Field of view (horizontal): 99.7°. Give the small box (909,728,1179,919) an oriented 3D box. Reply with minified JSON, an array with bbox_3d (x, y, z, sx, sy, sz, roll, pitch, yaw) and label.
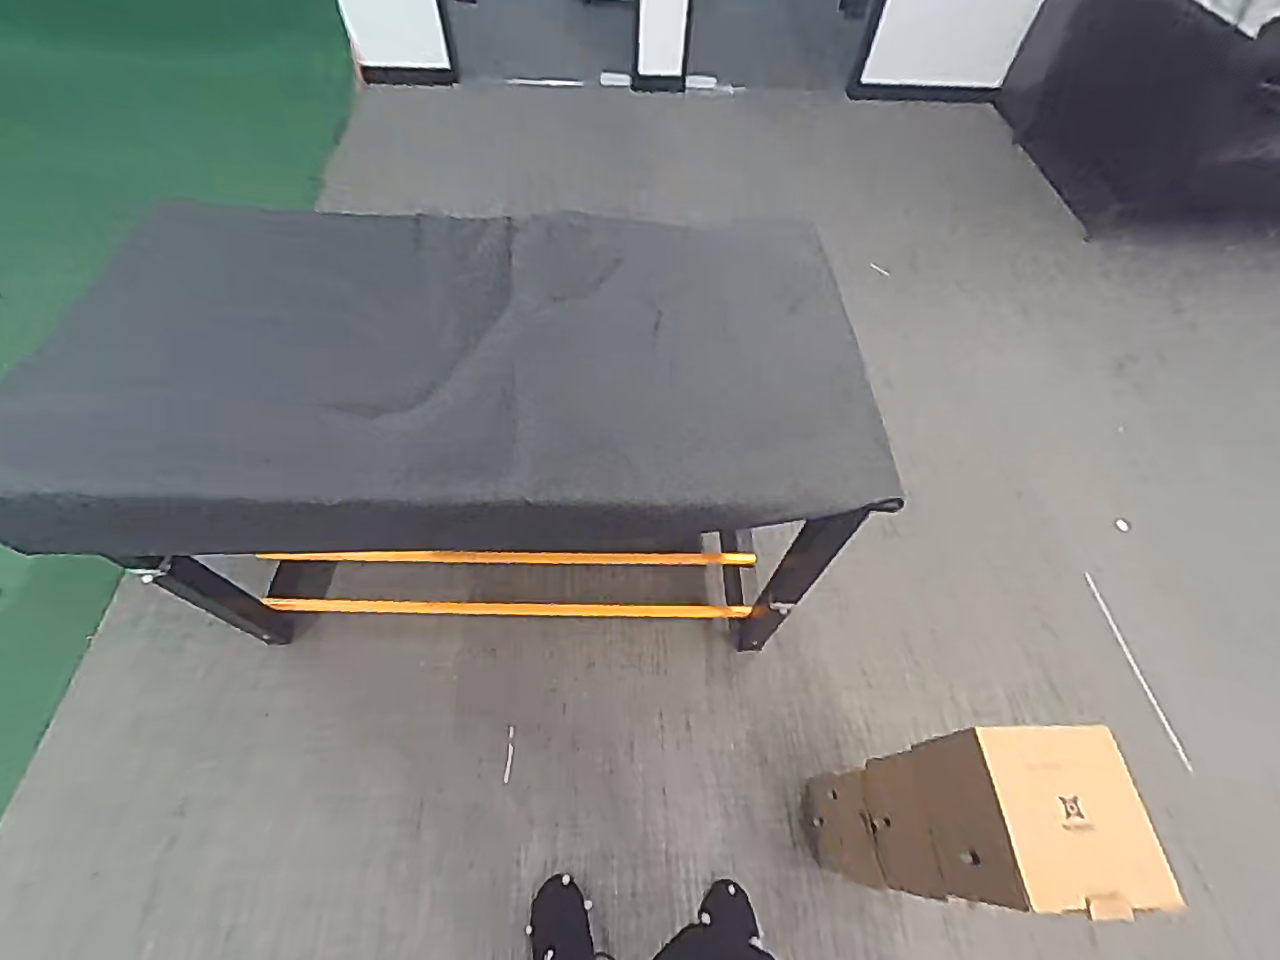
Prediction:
[{"bbox_3d":[0.463,0.410,0.657,0.168,0.176,0.179,1,56,-4],"label":"small box"}]

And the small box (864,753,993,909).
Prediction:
[{"bbox_3d":[0.454,0.504,0.789,0.168,0.176,0.179,2,57,-3],"label":"small box"}]

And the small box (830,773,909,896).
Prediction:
[{"bbox_3d":[0.442,0.600,0.922,0.179,0.176,0.168,0,57,-4],"label":"small box"}]

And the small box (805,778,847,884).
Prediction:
[{"bbox_3d":[0.446,0.688,1.061,0.179,0.176,0.168,2,56,-3],"label":"small box"}]
